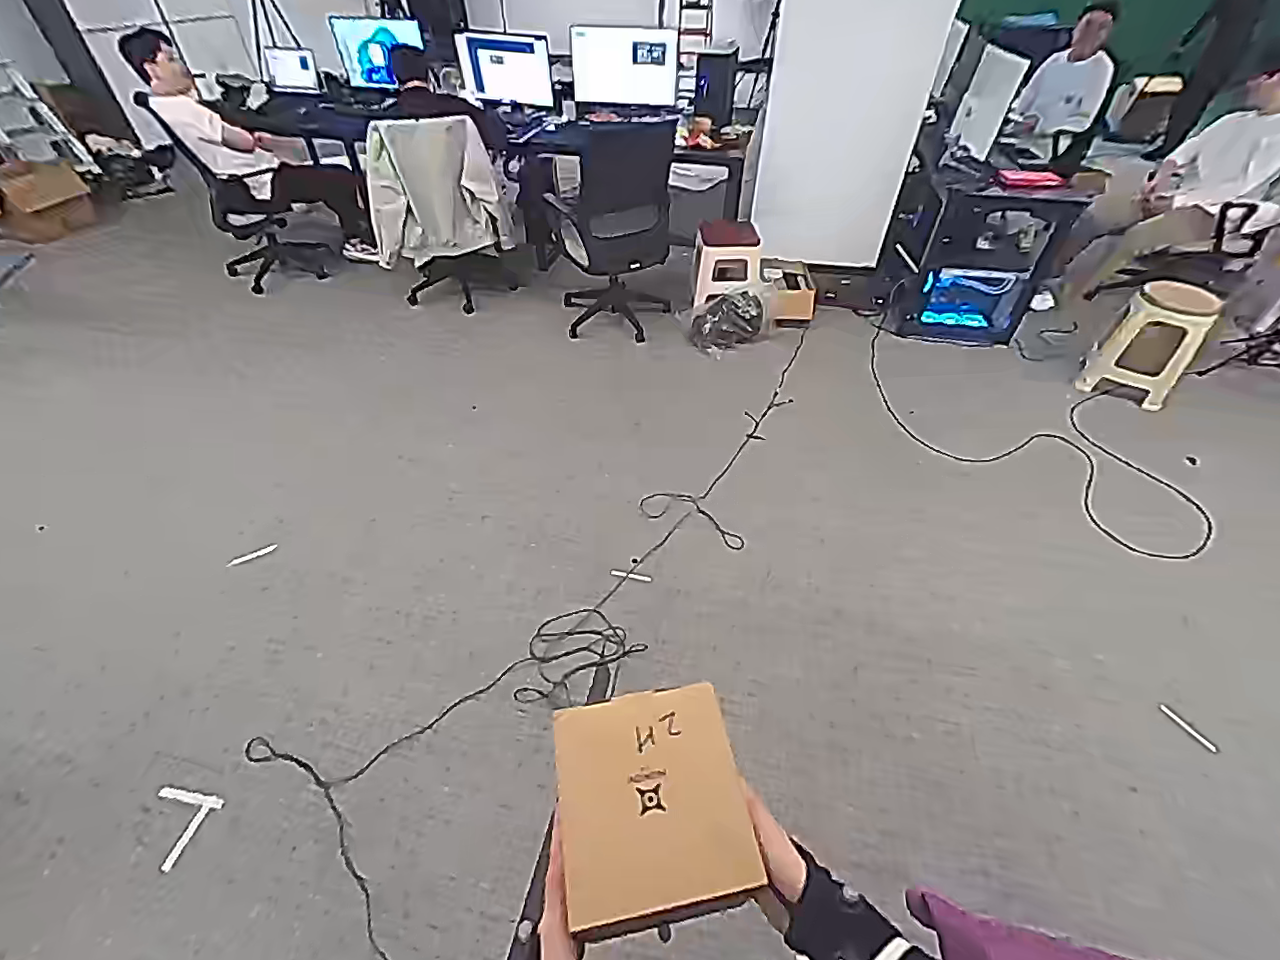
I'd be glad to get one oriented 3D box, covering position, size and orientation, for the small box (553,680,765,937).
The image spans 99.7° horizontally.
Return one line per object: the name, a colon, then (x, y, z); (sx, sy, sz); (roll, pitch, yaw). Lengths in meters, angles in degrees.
small box: (0.011, 0.333, 0.546); (0.168, 0.176, 0.179); (-9, 47, -8)
